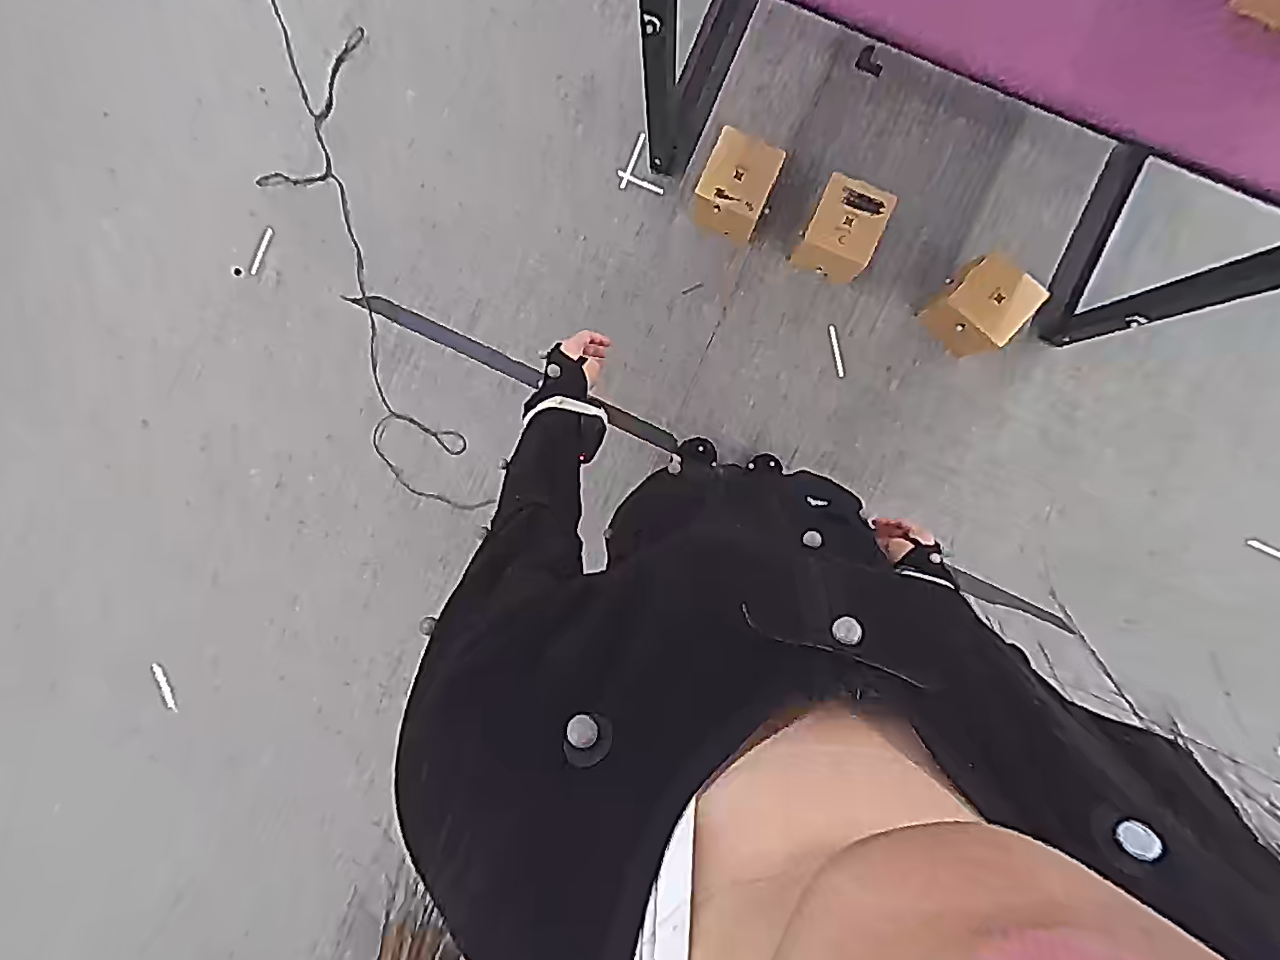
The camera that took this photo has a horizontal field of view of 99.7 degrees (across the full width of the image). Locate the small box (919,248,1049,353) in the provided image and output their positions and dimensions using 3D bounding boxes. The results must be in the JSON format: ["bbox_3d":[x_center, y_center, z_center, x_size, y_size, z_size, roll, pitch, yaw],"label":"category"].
[{"bbox_3d":[0.849,-0.437,1.352,0.179,0.176,0.168,42,95,2],"label":"small box"}]

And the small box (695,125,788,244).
[{"bbox_3d":[0.246,-0.737,1.367,0.168,0.176,0.179,26,93,1],"label":"small box"}]
